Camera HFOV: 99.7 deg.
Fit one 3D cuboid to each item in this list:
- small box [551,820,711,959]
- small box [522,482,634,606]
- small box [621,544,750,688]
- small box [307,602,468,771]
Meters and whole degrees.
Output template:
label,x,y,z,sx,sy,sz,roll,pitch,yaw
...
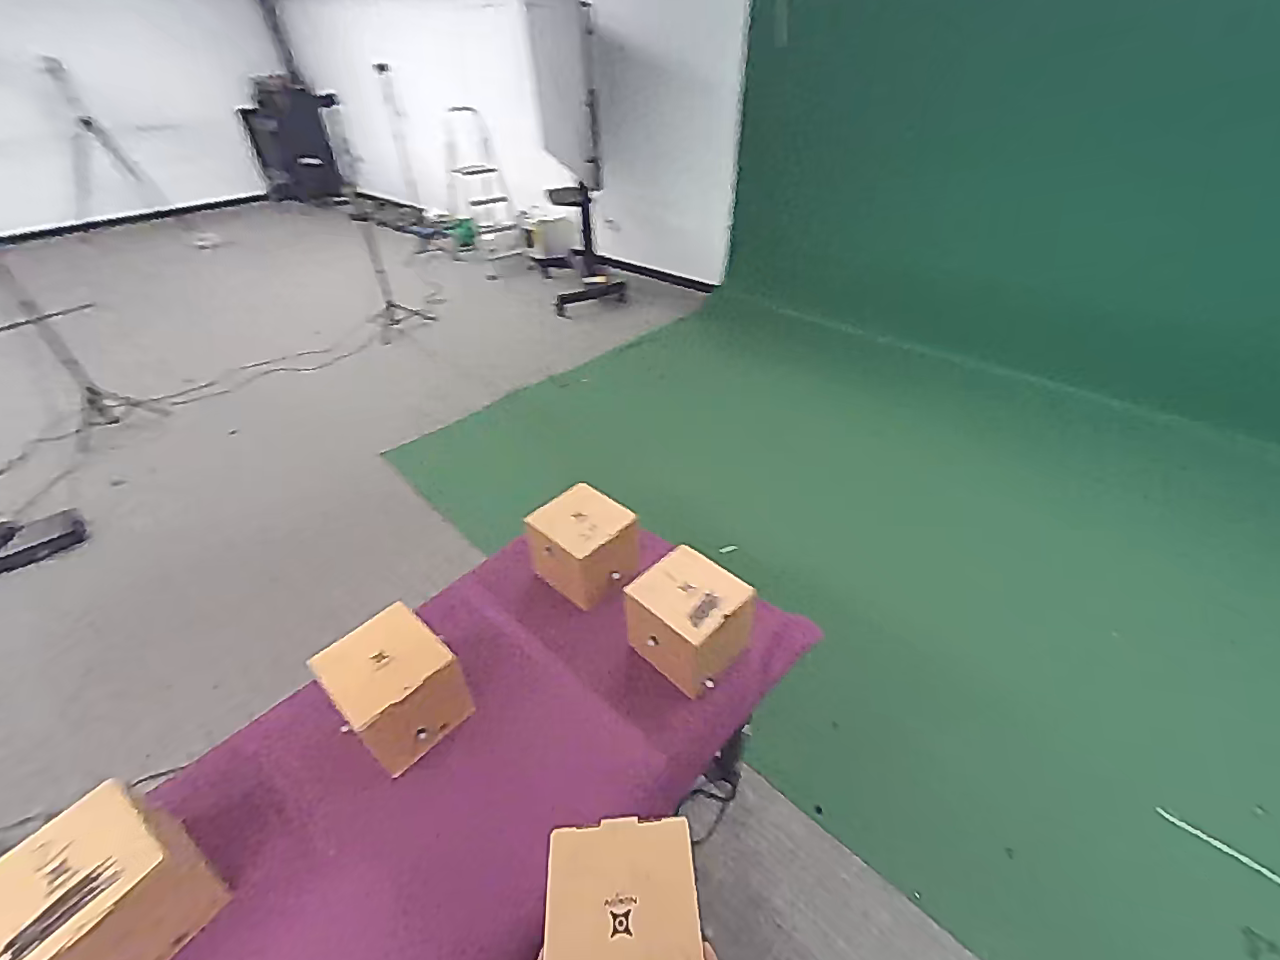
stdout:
label,x,y,z,sx,sy,sz,roll,pitch,yaw
small box,-0.006,0.525,0.625,0.168,0.176,0.179,-5,39,1
small box,-0.129,0.139,1.174,0.179,0.176,0.168,30,49,31
small box,0.085,0.260,1.018,0.168,0.176,0.179,-33,47,-32
small box,-0.421,0.351,0.921,0.179,0.176,0.168,29,47,30
